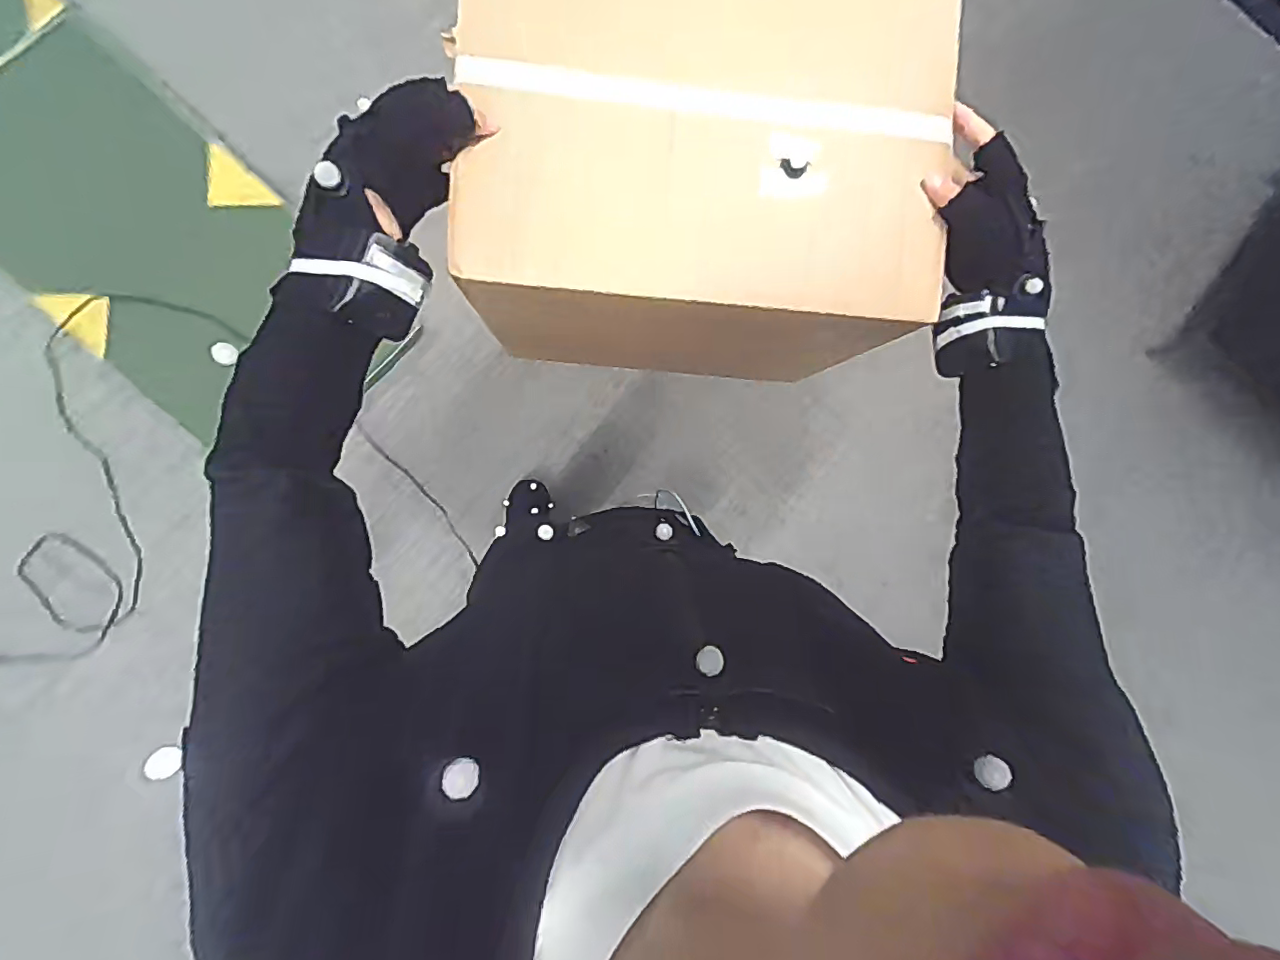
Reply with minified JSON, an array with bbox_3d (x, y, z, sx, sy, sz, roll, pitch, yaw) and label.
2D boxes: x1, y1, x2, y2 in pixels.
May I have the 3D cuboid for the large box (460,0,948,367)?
[{"bbox_3d":[0.043,-0.313,0.586,0.408,0.320,0.320,3,91,-7],"label":"large box"}]
